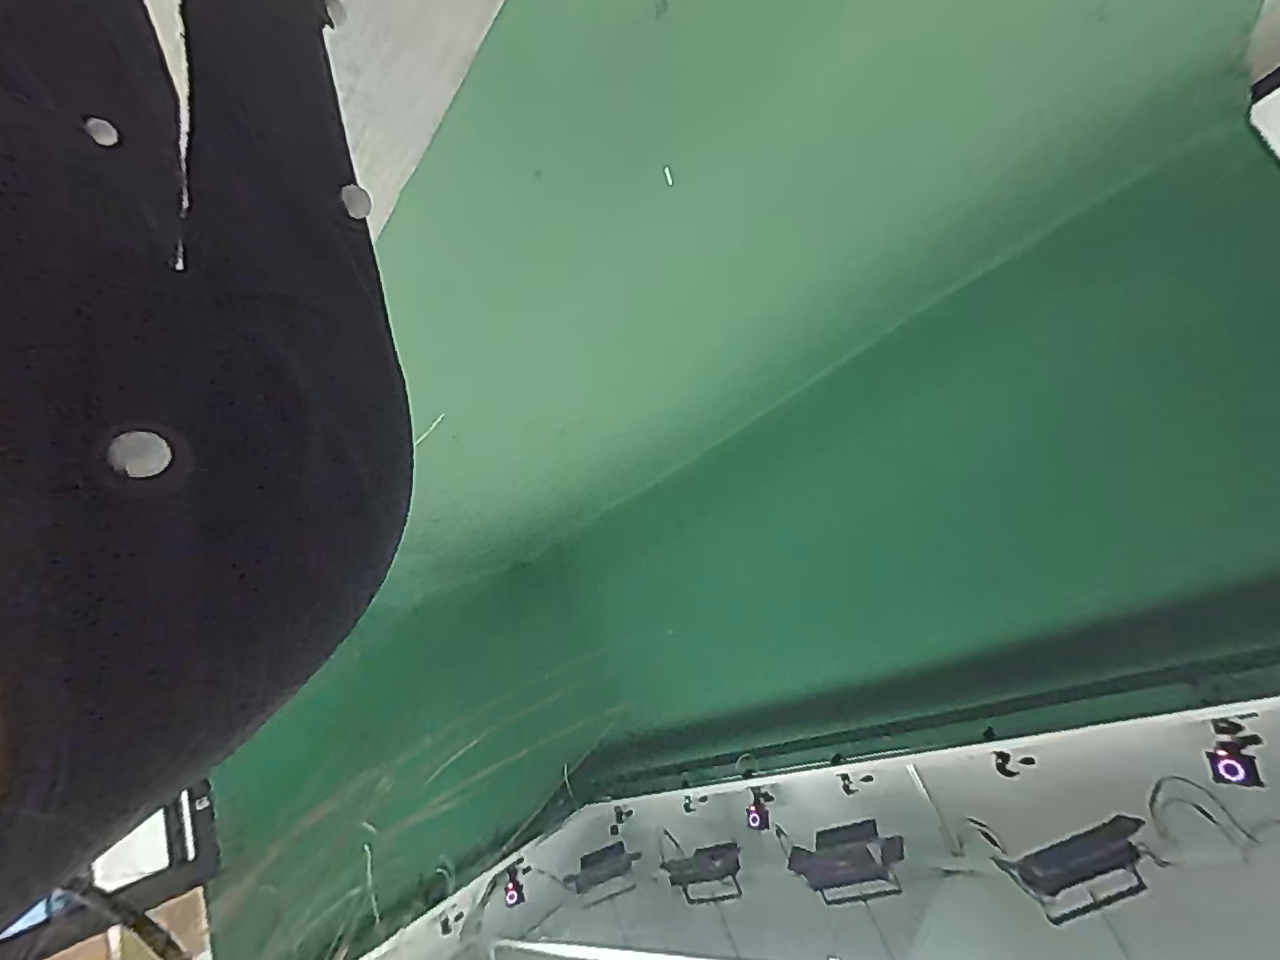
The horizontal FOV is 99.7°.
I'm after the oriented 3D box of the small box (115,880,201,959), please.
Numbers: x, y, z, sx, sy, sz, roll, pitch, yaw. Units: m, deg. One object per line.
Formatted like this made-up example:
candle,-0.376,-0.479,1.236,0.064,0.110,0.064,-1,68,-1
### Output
small box,-1.341,1.253,1.505,0.168,0.176,0.179,-5,157,-42
